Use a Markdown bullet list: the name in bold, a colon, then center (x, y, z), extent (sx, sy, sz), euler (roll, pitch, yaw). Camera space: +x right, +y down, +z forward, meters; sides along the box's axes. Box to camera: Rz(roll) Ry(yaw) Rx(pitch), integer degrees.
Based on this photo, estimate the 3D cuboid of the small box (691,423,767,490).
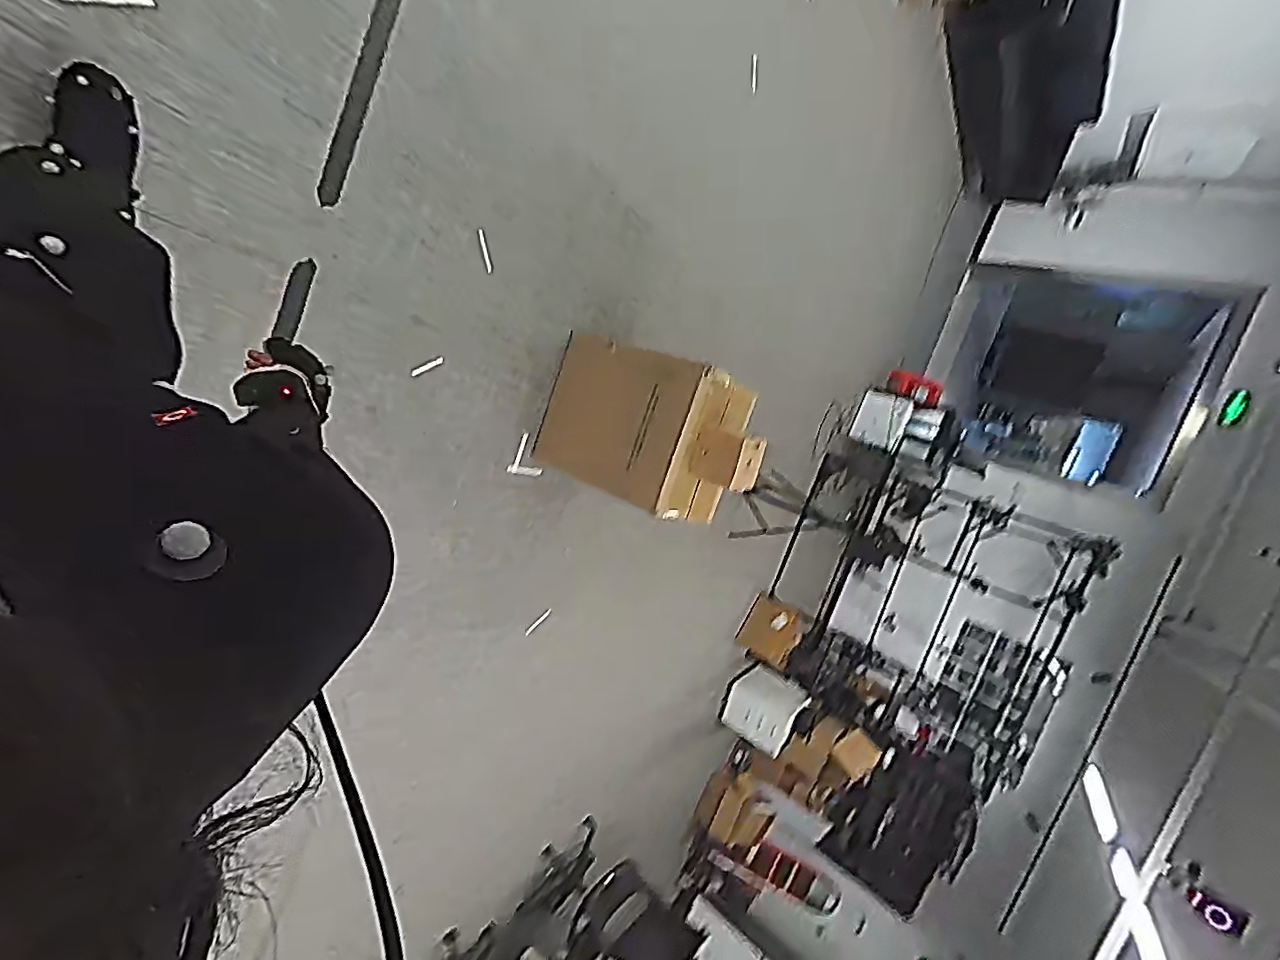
- **small box**: center (0.291, -0.079, 1.805), extent (0.168, 0.176, 0.179), euler (-1, 111, -52)
